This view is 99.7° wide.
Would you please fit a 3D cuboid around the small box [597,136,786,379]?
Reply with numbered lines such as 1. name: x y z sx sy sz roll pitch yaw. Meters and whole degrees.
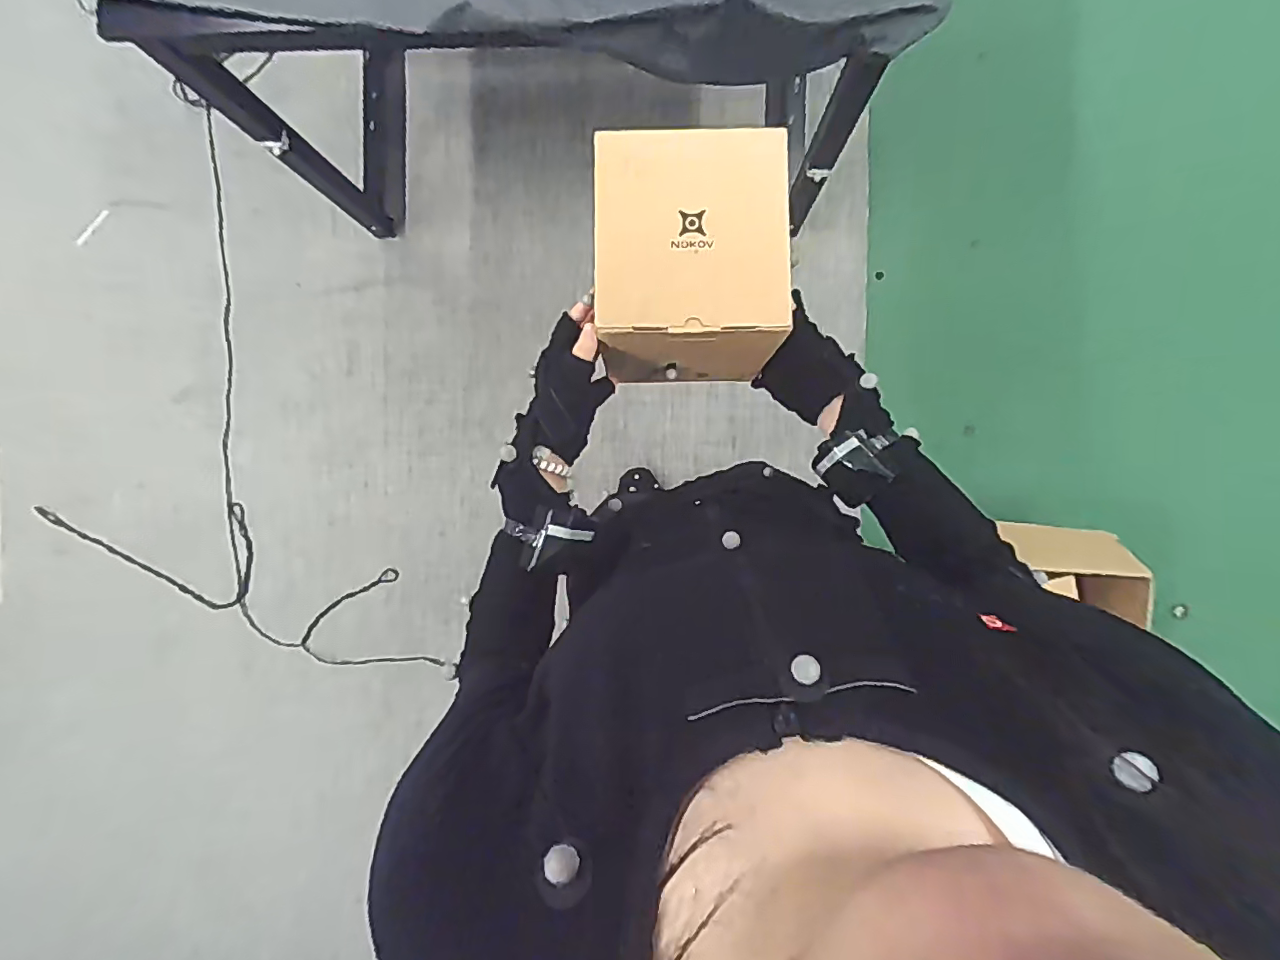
1. small box: 0.044 -0.210 0.548 0.168 0.176 0.179 -1 87 1
